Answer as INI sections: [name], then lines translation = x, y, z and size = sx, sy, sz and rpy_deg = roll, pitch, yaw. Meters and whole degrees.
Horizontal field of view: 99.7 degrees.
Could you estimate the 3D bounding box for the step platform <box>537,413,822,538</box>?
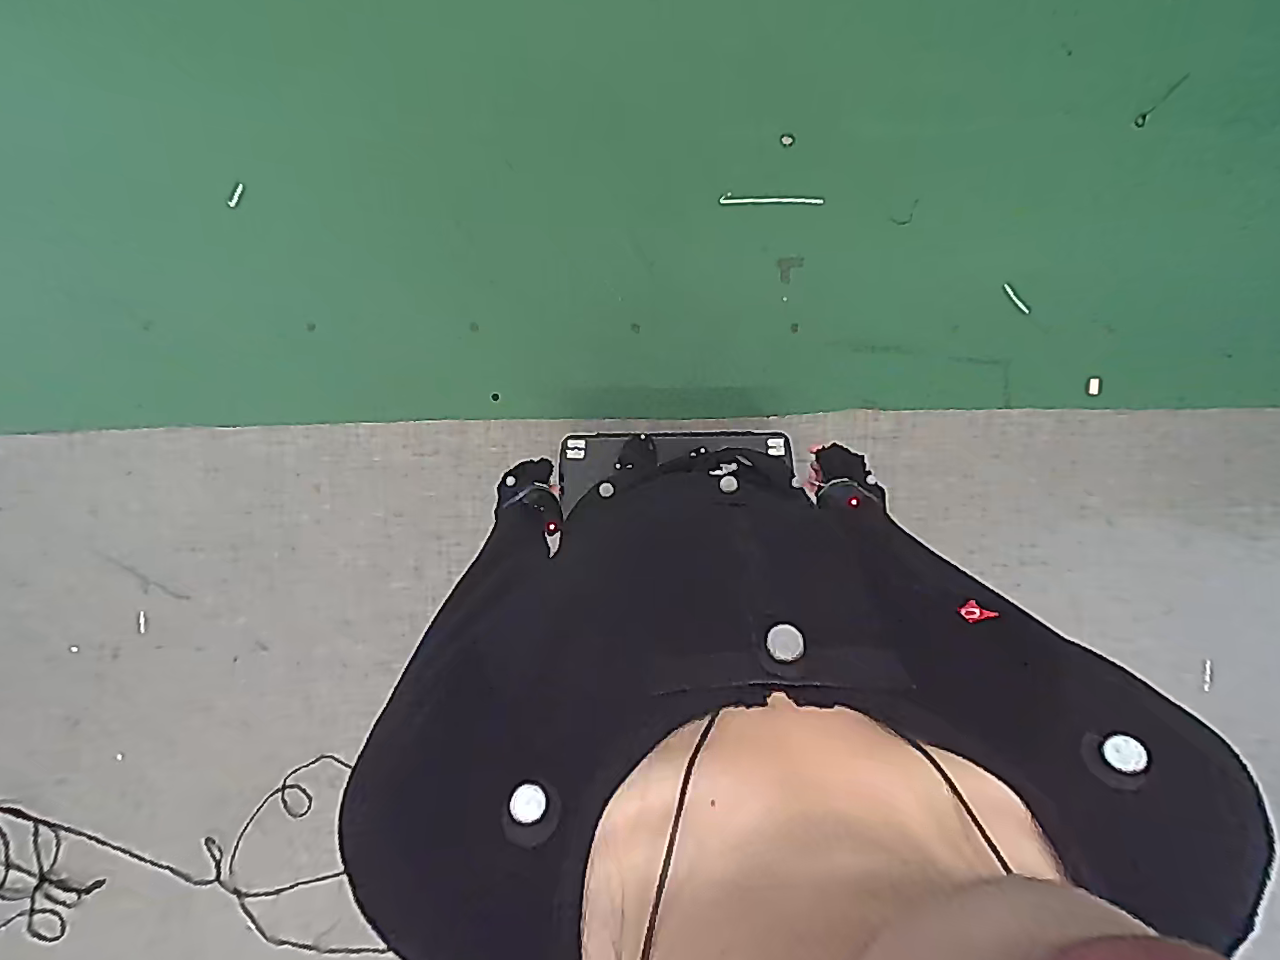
[step platform]
translation = 0.095, -0.018, 1.384
size = 0.684, 0.204, 0.286
rpy_deg = -2, 95, 0
